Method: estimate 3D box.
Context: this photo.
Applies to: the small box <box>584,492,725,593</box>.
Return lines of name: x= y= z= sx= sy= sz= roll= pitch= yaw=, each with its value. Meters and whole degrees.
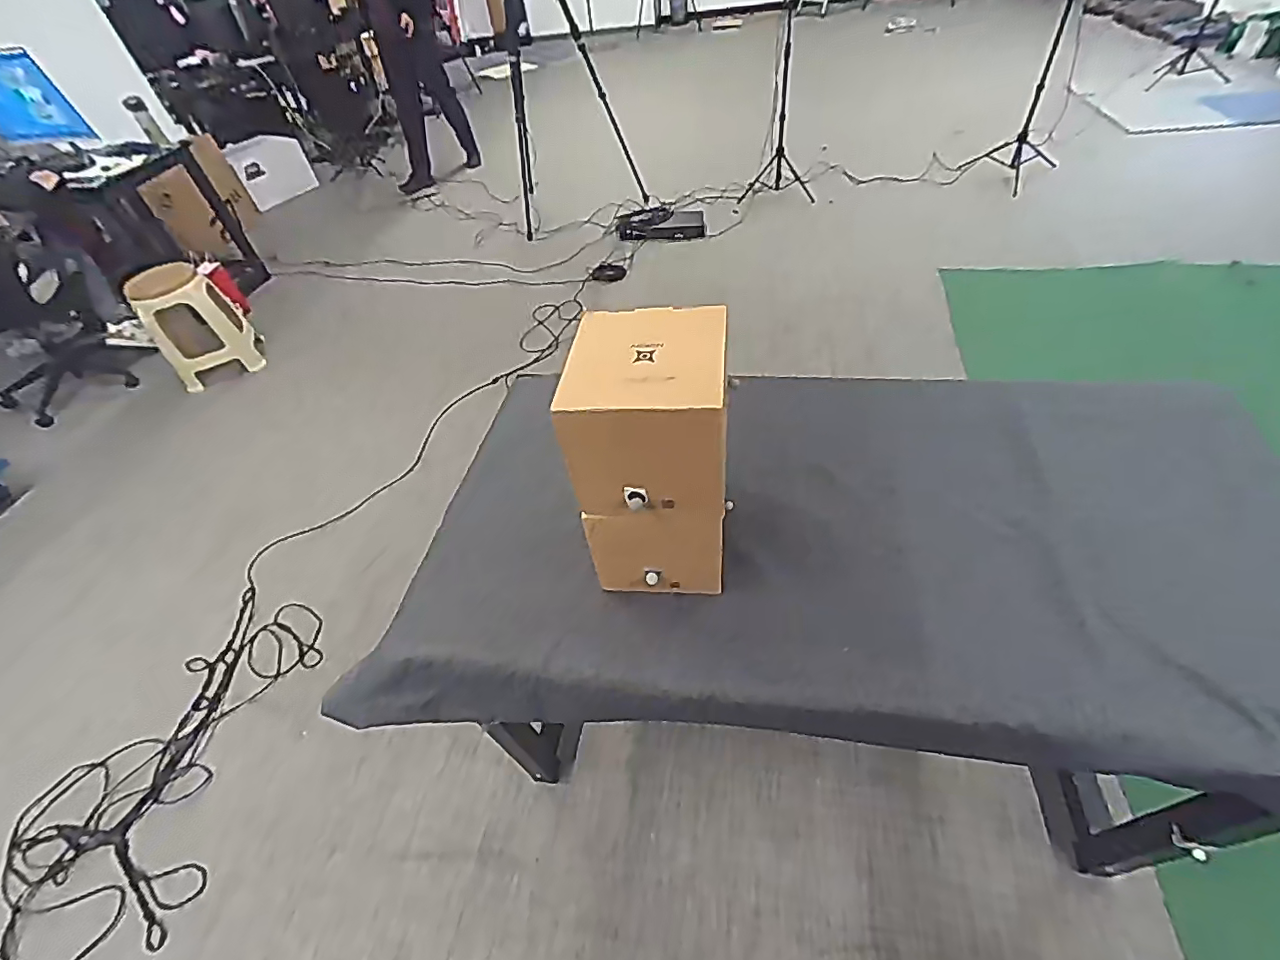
small box: x=0.031 y=0.032 z=0.735 sx=0.168 sy=0.176 sz=0.179 roll=0 pitch=48 yaw=9

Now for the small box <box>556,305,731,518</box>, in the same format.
small box: x=0.018 y=-0.077 z=0.616 sx=0.168 sy=0.176 sz=0.179 roll=0 pitch=49 yaw=10
